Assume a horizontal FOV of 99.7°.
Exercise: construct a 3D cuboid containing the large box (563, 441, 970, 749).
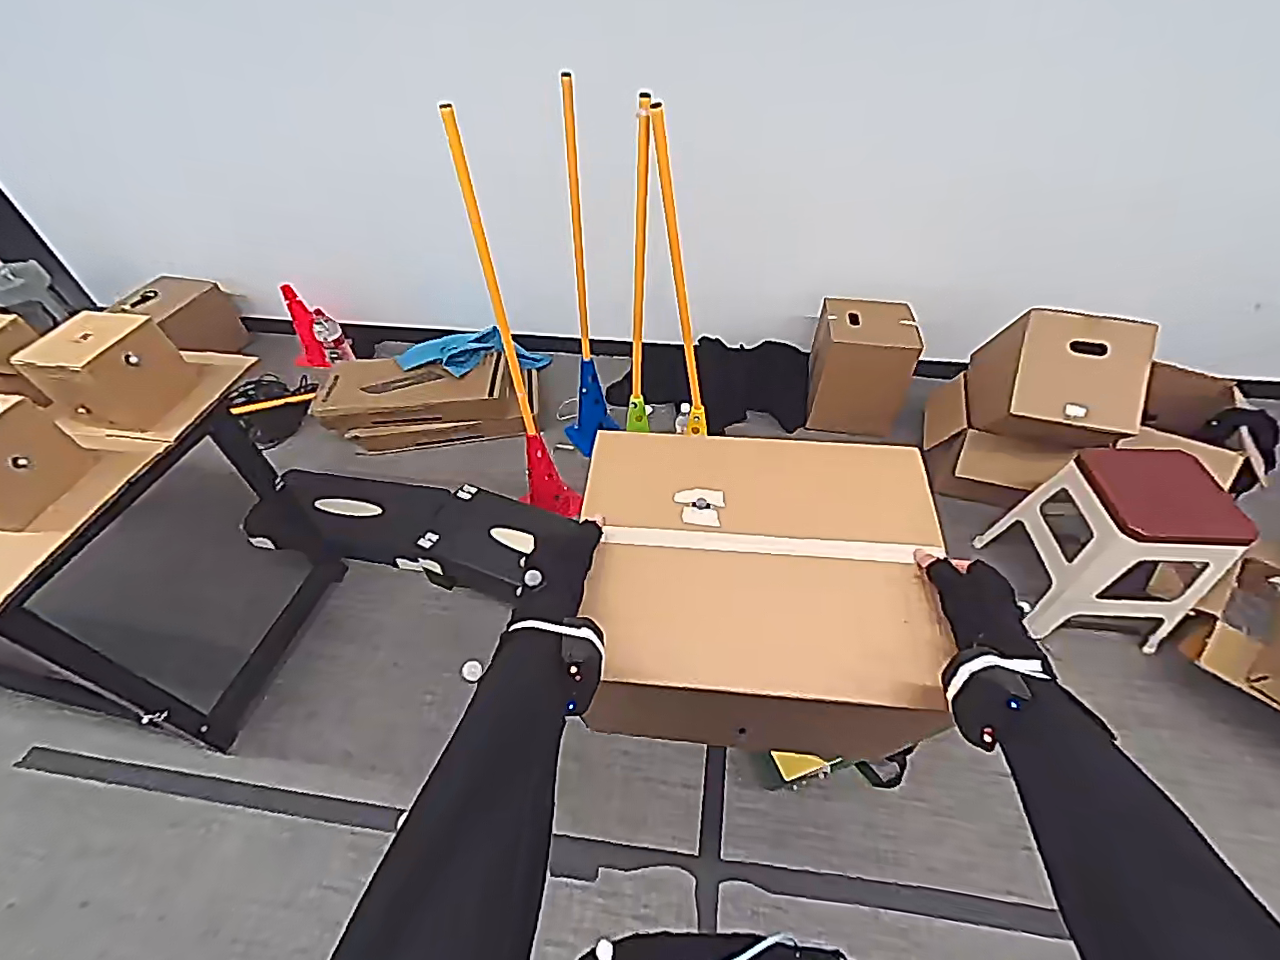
[{"bbox_3d":[0.140,0.165,0.735,0.408,0.320,0.320,3,55,5],"label":"large box"}]
